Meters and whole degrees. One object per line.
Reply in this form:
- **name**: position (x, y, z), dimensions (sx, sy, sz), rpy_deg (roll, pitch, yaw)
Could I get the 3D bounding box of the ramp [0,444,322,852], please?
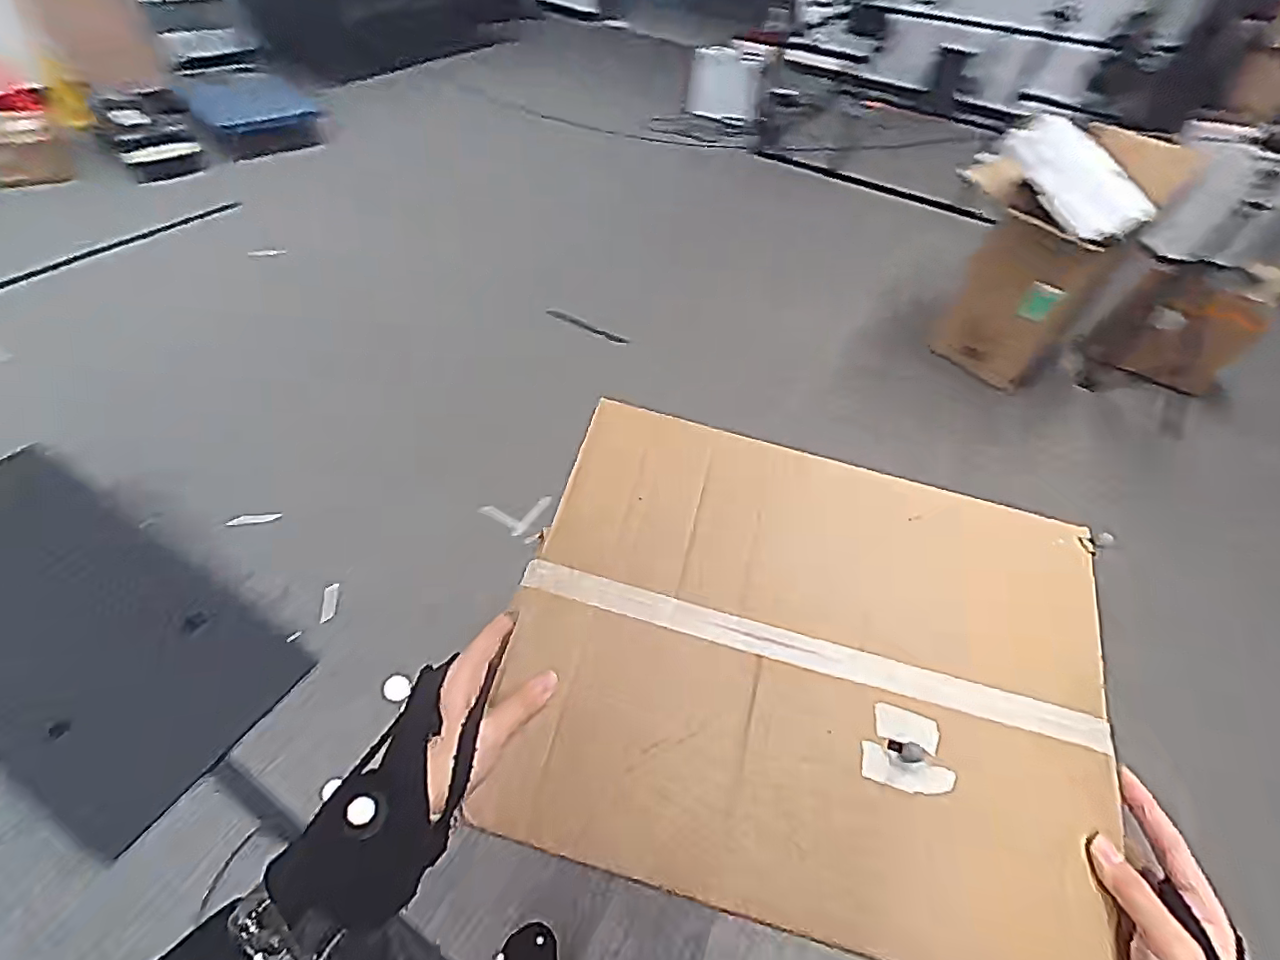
- **ramp**: position (-1.321, 0.323, 1.287), dimensions (0.991, 0.206, 0.509), rpy_deg (26, 51, 15)
